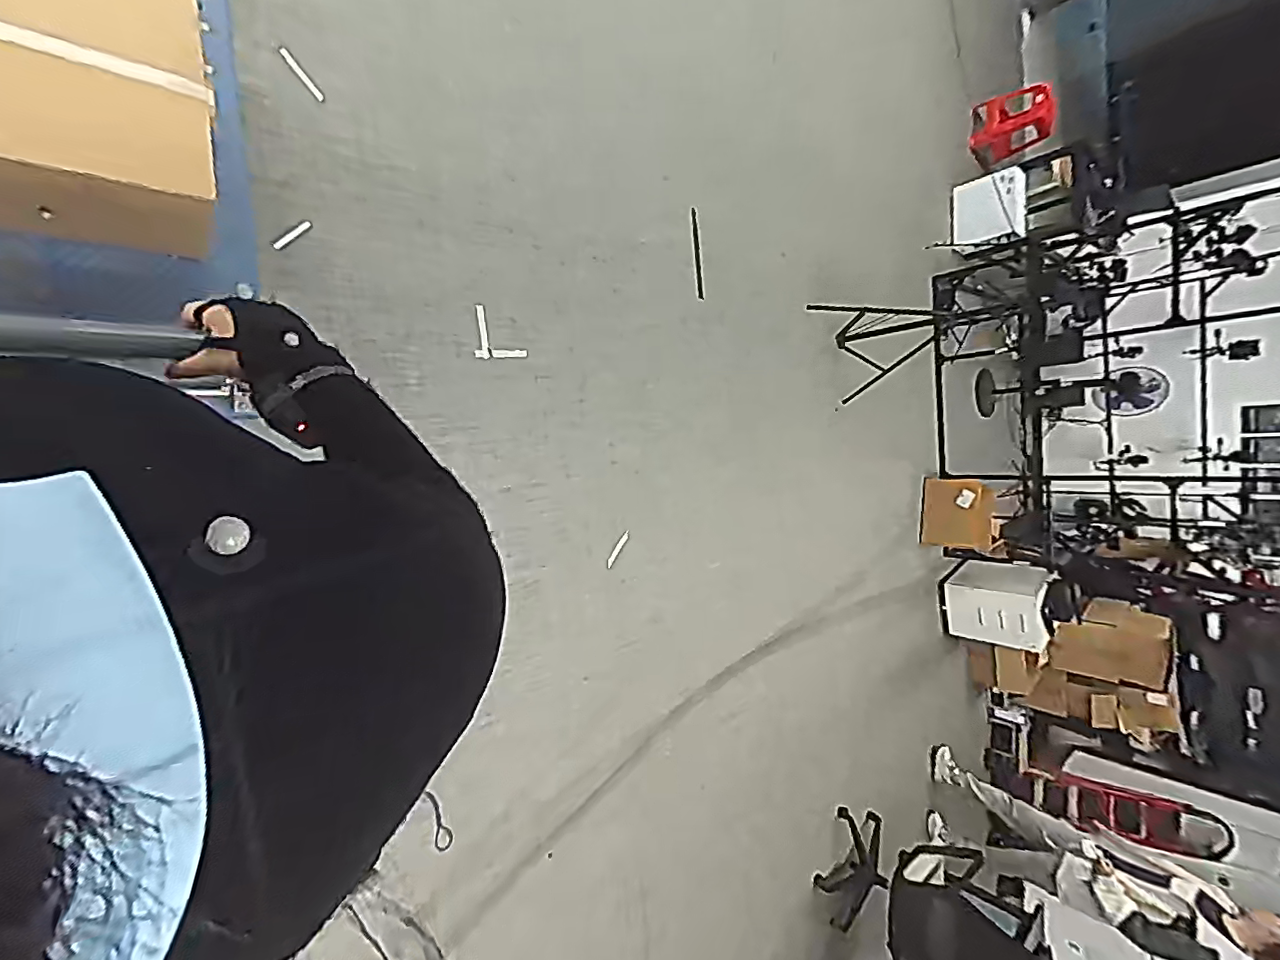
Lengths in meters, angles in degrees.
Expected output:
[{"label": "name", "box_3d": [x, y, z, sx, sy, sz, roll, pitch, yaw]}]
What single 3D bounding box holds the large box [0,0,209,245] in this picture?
[{"label": "large box", "box_3d": [-0.927, -0.586, 0.815, 0.408, 0.320, 0.320, -6, 94, -40]}]
